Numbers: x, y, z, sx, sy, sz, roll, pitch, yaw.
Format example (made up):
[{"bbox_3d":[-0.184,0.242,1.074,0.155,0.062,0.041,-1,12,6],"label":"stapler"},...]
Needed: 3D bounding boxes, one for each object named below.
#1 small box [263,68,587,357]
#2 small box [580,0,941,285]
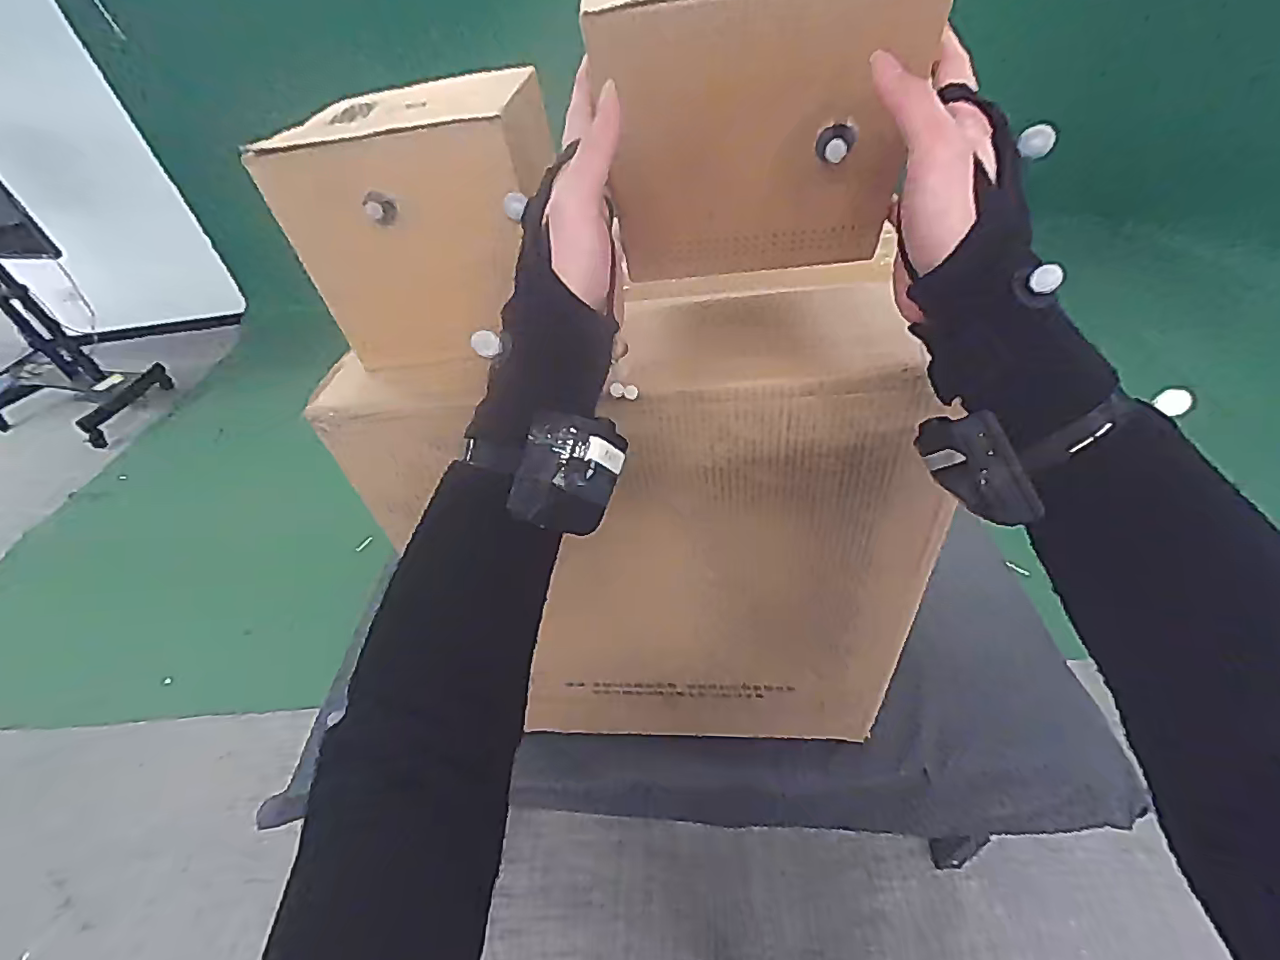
[{"bbox_3d":[-0.156,-0.222,0.466,0.179,0.176,0.168,-4,48,9],"label":"small box"},{"bbox_3d":[0.069,-0.257,0.365,0.179,0.176,0.168,-4,61,8],"label":"small box"}]
